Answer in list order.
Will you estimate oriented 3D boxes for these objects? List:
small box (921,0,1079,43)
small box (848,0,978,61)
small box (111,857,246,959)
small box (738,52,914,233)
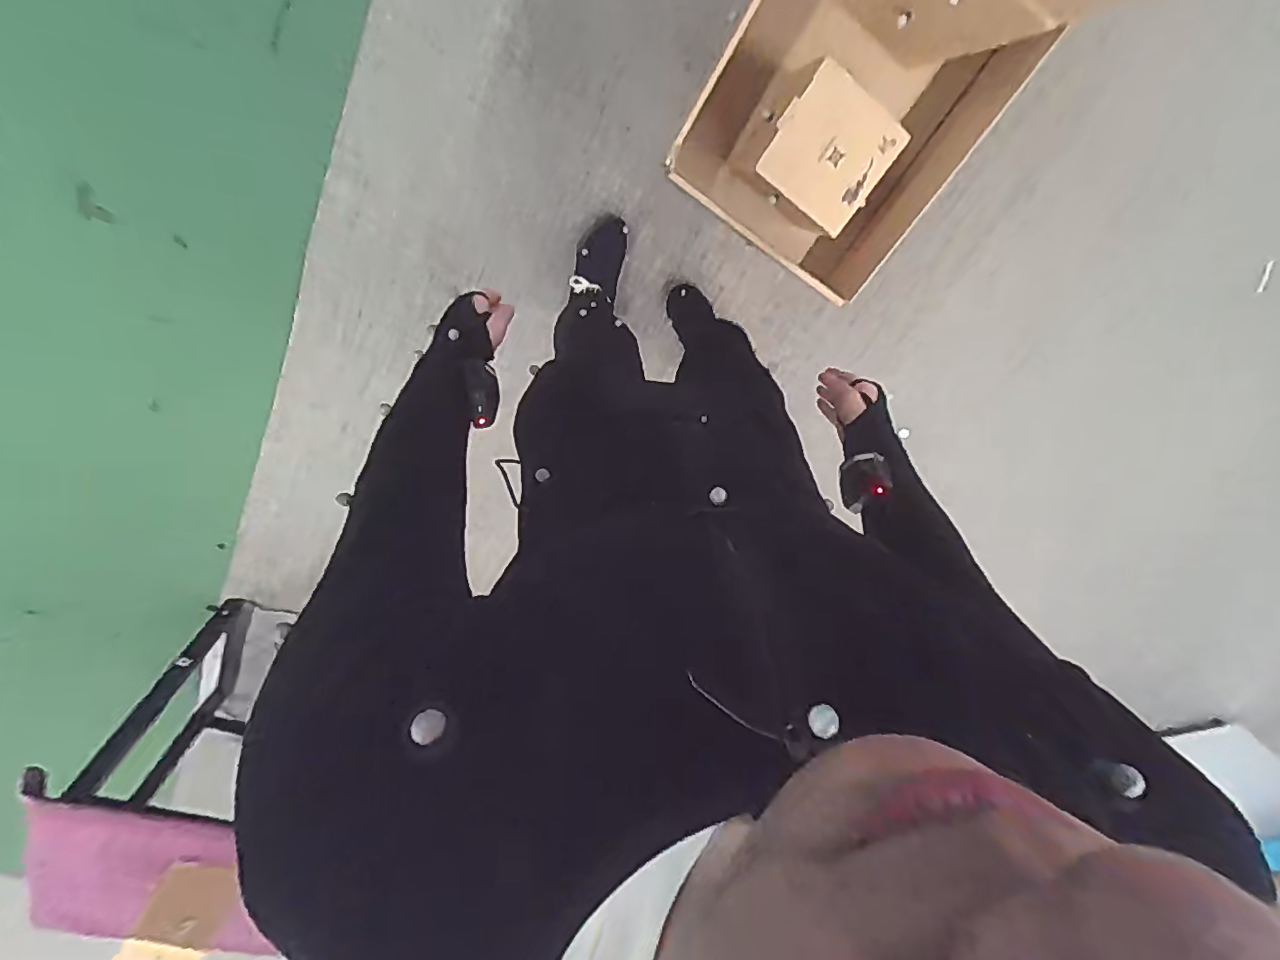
[{"bbox_3d":[0.432,-0.642,0.615,0.179,0.176,0.168,26,115,-17],"label":"small box"},{"bbox_3d":[0.425,-0.728,0.755,0.179,0.176,0.168,28,115,-18],"label":"small box"},{"bbox_3d":[-1.127,1.069,1.334,0.179,0.176,0.168,34,113,-21],"label":"small box"},{"bbox_3d":[0.281,-0.523,0.860,0.179,0.176,0.168,29,114,-19],"label":"small box"}]
